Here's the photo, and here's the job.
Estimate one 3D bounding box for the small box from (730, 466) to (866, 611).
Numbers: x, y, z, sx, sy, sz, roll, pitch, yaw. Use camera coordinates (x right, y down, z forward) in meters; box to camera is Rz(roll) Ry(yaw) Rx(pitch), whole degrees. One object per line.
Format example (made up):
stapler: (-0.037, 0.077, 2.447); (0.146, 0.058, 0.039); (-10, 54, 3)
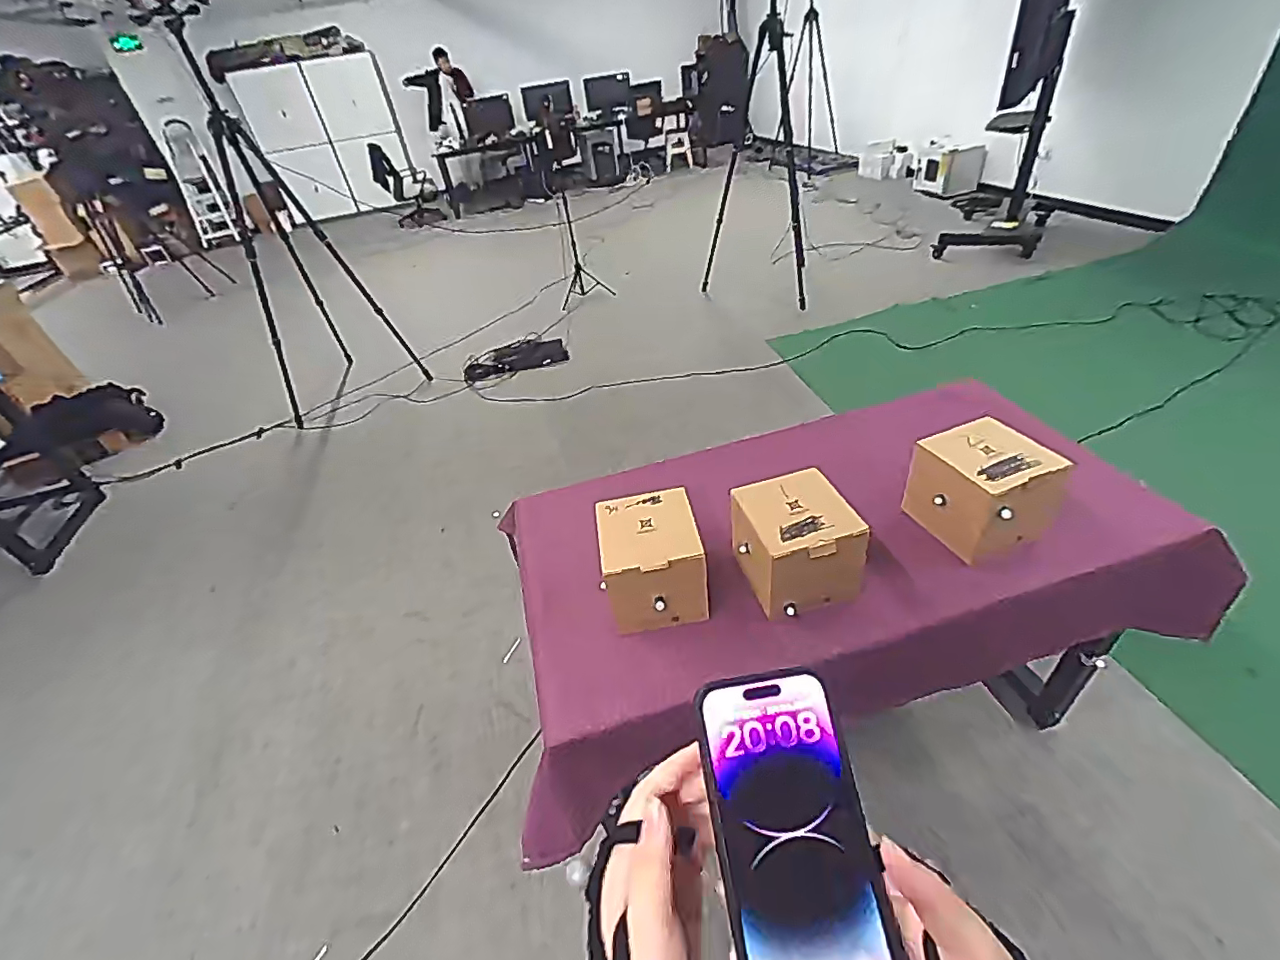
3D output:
small box: (0.269, 0.107, 0.945); (0.168, 0.176, 0.179); (-15, 38, -6)

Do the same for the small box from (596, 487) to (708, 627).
small box: (0.022, 0.142, 0.958); (0.168, 0.176, 0.179); (-11, 39, -1)
